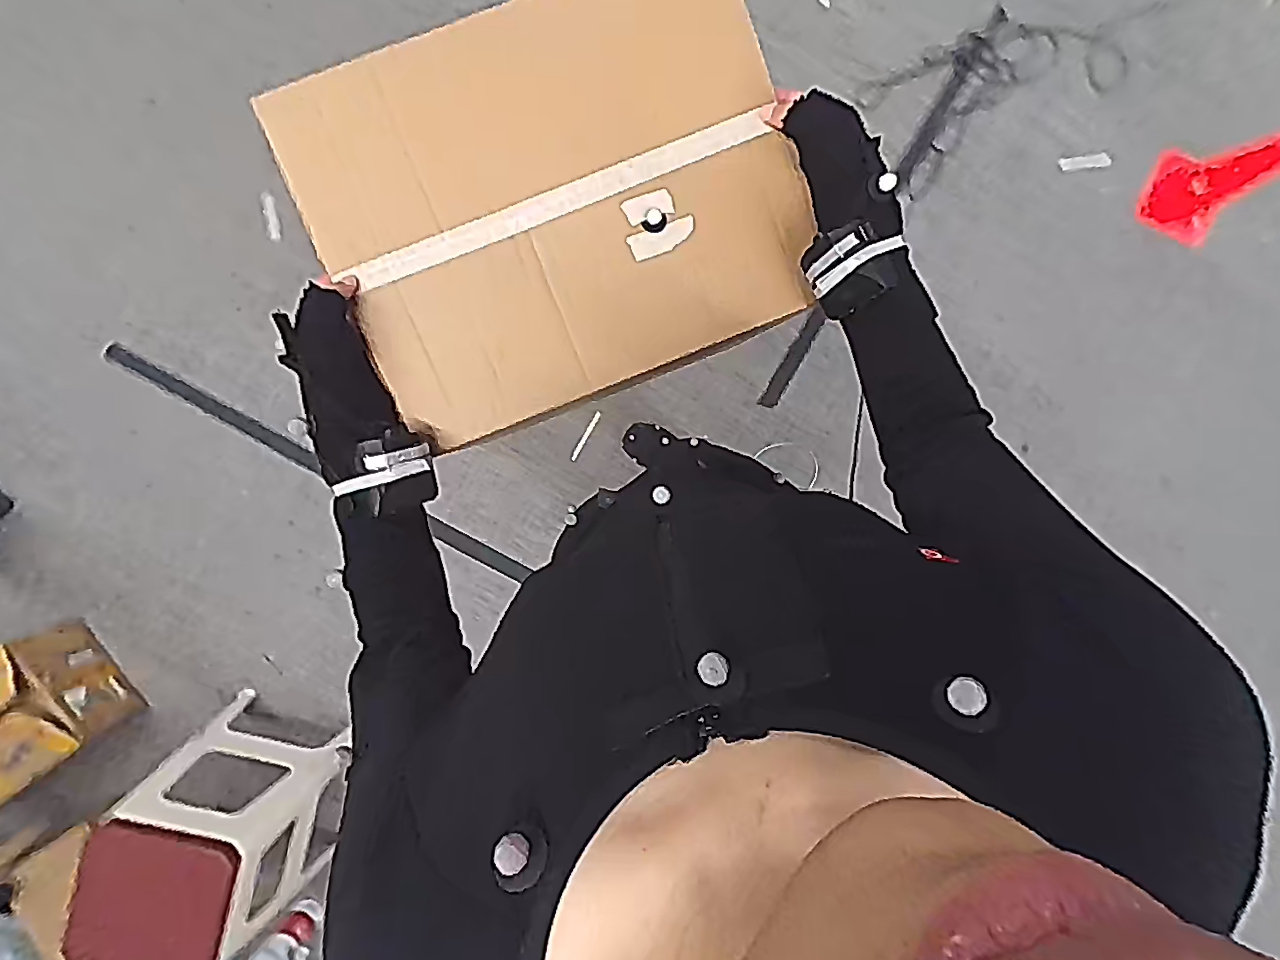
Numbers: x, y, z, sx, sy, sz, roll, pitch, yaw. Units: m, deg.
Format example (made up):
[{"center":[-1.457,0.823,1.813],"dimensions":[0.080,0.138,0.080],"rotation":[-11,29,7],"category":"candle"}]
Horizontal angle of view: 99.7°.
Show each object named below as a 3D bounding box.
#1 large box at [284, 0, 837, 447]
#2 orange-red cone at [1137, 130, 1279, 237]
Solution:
[{"center":[-0.068,-0.254,0.611],"dimensions":[0.408,0.320,0.320],"rotation":[-21,98,-2],"category":"large box"},{"center":[1.473,-0.780,1.297],"dimensions":[0.198,0.360,0.199],"rotation":[27,91,-3],"category":"orange-red cone"}]
